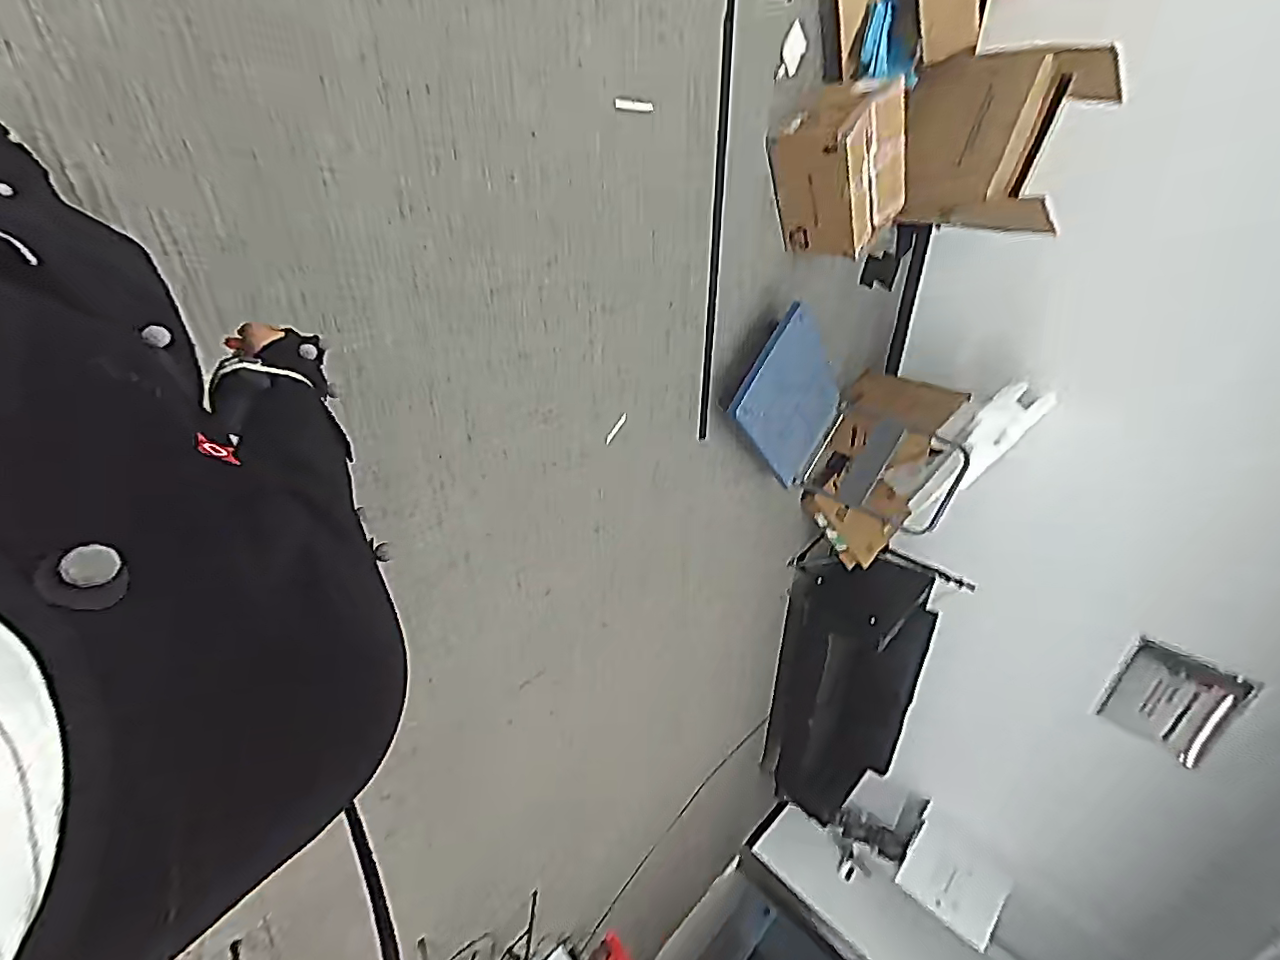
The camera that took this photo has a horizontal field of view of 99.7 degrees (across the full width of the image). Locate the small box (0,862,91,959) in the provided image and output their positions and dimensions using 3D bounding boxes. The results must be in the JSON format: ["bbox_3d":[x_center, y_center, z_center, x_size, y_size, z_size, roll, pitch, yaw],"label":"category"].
[{"bbox_3d":[-0.755,0.586,0.602,0.179,0.176,0.168,-22,126,-38],"label":"small box"}]
